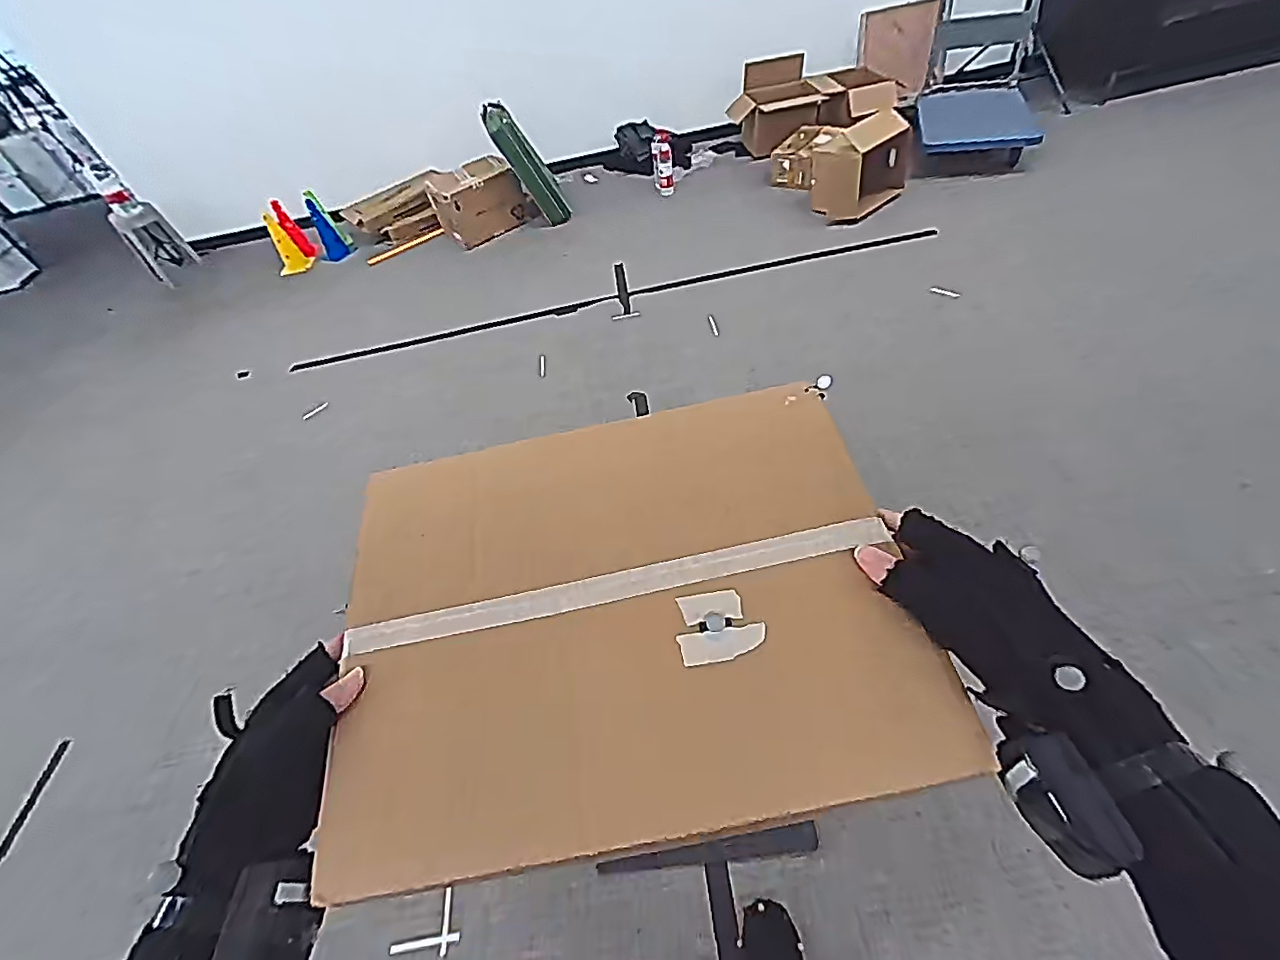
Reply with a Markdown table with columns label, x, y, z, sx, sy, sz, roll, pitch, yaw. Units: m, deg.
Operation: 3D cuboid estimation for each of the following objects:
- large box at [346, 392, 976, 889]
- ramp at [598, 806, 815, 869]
| label | x | y | z | sx | sy | sz | roll | pitch | yaw |
| --- | --- | --- | --- | --- | --- | --- | --- | --- | --- |
| large box | 0.005 | 0.166 | 0.533 | 0.408 | 0.320 | 0.320 | -12 | 56 | 0 |
| ramp | 0.100 | 0.407 | 1.444 | 0.509 | 0.206 | 0.991 | -10 | 49 | 2 |
